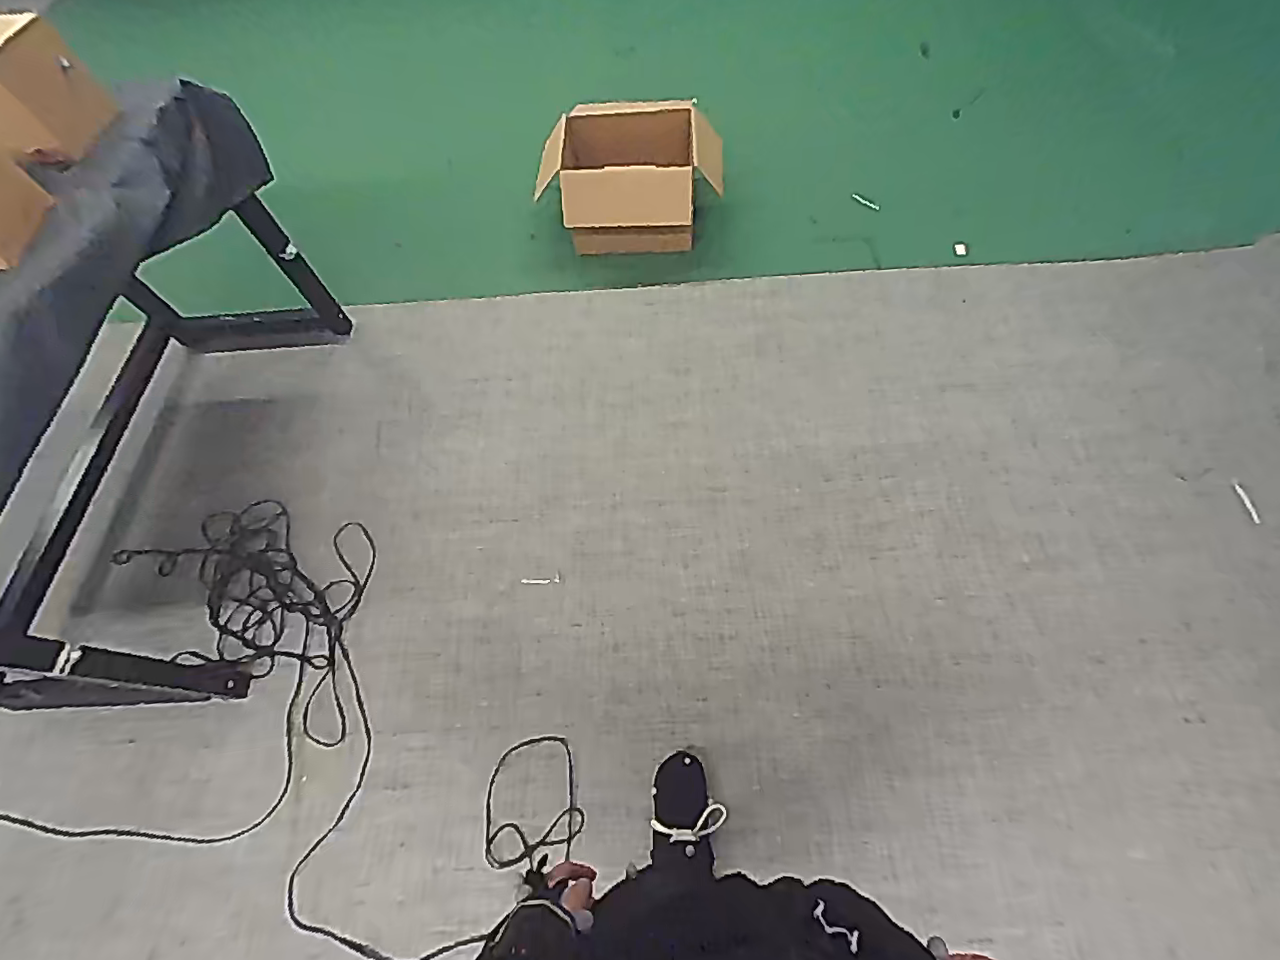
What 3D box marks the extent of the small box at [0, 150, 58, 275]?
[{"bbox_3d":[-1.138,-0.459,0.888,0.168,0.176,0.179,-5,63,1],"label":"small box"}]
